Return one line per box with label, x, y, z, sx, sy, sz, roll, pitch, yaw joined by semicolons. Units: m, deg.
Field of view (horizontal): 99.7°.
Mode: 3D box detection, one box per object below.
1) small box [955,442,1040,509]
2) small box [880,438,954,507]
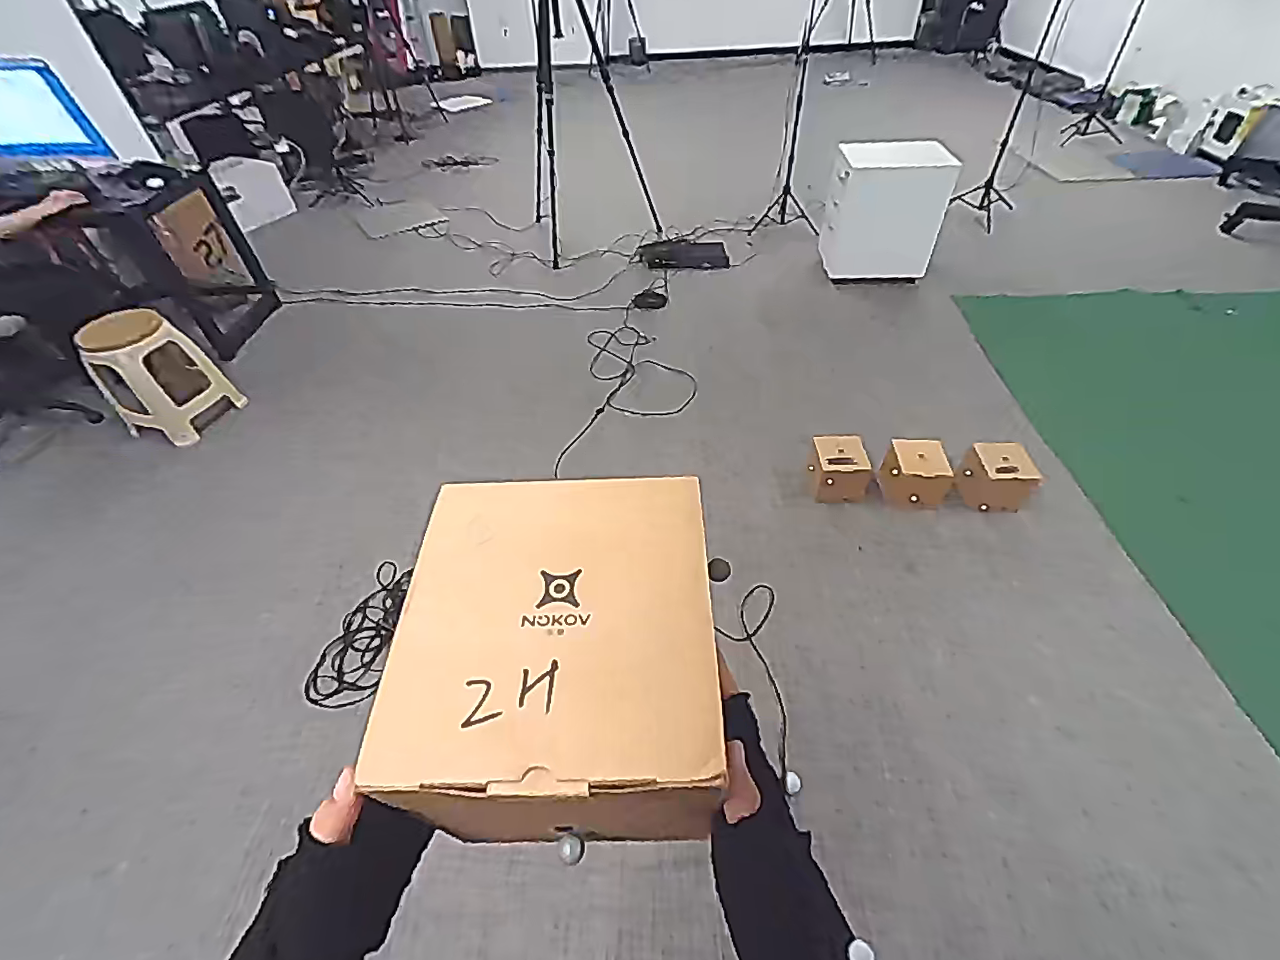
small box;1.234;-0.013;1.881;0.168;0.176;0.179;1;46;4
small box;0.966;-0.026;1.908;0.168;0.176;0.179;2;47;4
